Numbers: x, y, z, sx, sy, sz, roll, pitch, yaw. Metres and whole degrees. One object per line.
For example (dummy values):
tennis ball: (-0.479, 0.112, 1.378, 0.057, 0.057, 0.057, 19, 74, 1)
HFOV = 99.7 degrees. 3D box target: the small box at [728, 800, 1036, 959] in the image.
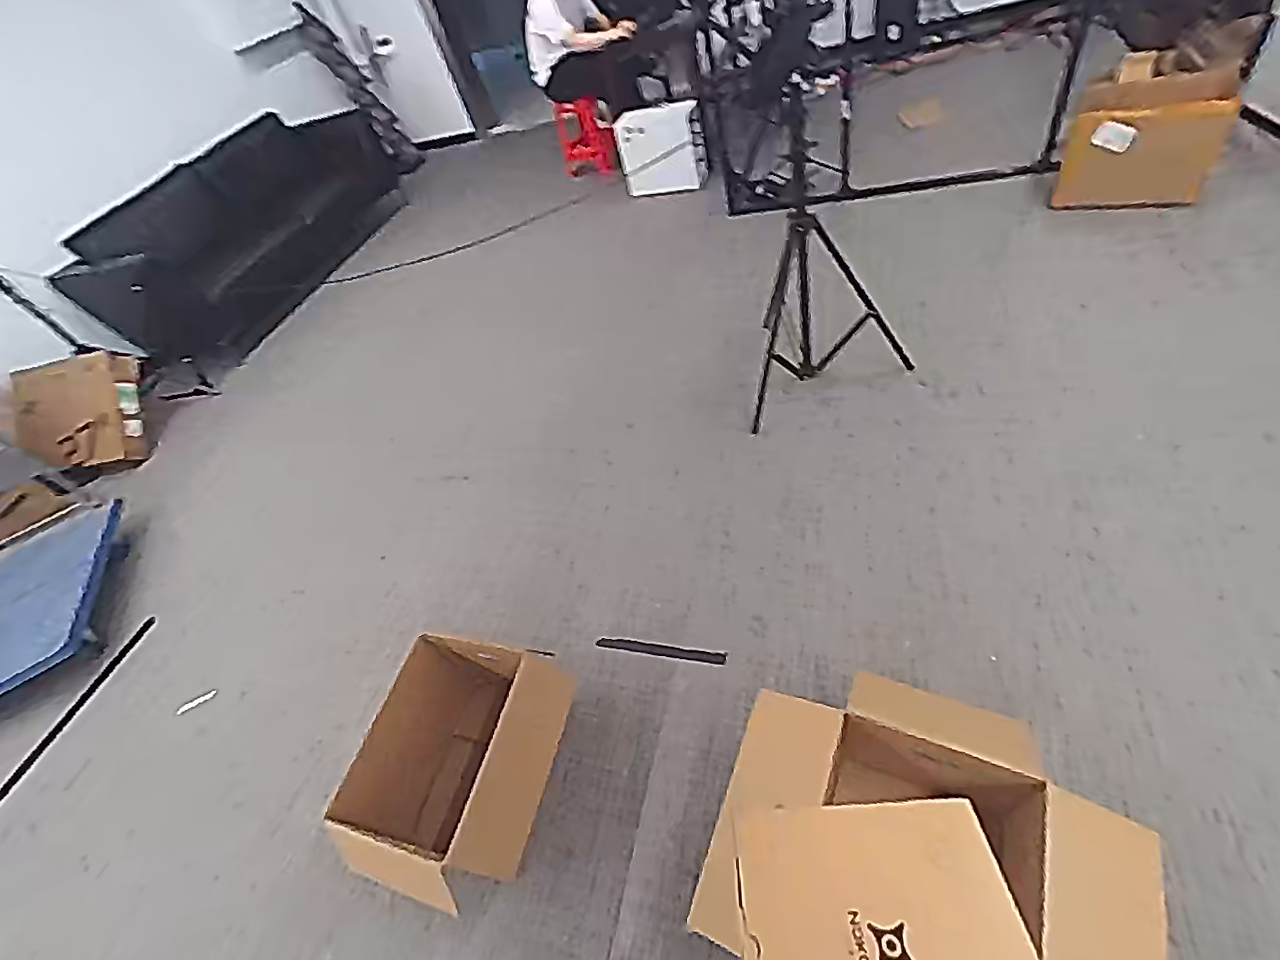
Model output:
small box: (0.163, 0.353, 0.380, 0.179, 0.176, 0.168, -8, 35, 7)
